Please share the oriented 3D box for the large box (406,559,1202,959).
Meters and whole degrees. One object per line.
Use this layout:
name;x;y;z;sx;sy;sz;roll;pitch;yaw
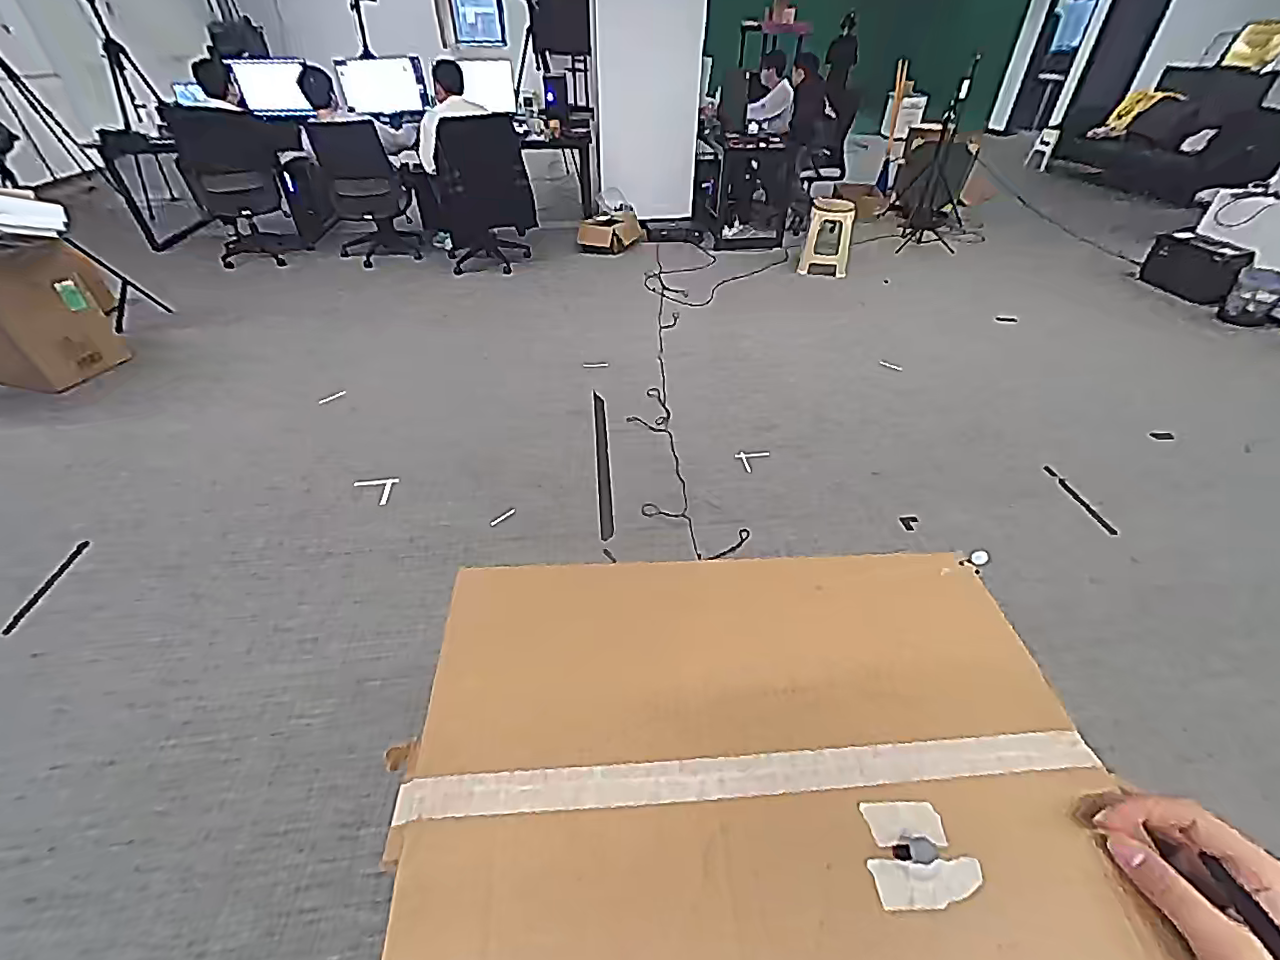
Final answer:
large box;0.067;0.283;0.429;0.408;0.320;0.320;0;45;-6
